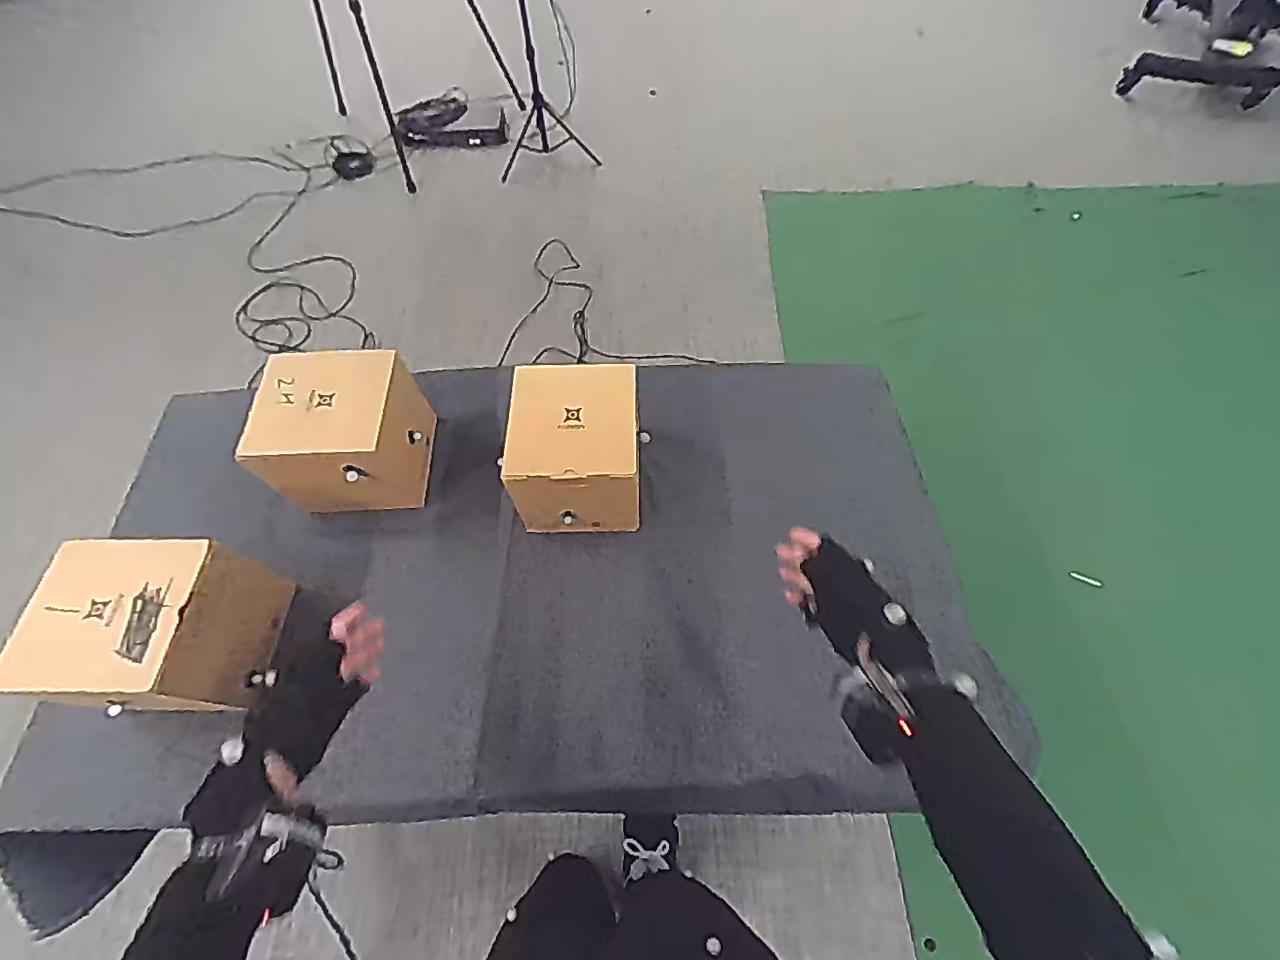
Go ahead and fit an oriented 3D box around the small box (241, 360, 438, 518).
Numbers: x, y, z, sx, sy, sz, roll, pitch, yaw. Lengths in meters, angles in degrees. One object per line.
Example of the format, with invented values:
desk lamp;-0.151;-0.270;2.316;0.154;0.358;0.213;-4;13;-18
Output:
small box;-0.409;-0.053;0.776;0.179;0.176;0.168;-2;61;0

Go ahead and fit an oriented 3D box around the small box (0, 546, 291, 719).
small box;-0.565;0.187;0.645;0.179;0.176;0.168;0;60;1

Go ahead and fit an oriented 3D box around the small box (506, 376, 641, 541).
small box;-0.083;-0.027;0.765;0.168;0.176;0.179;-1;62;0
